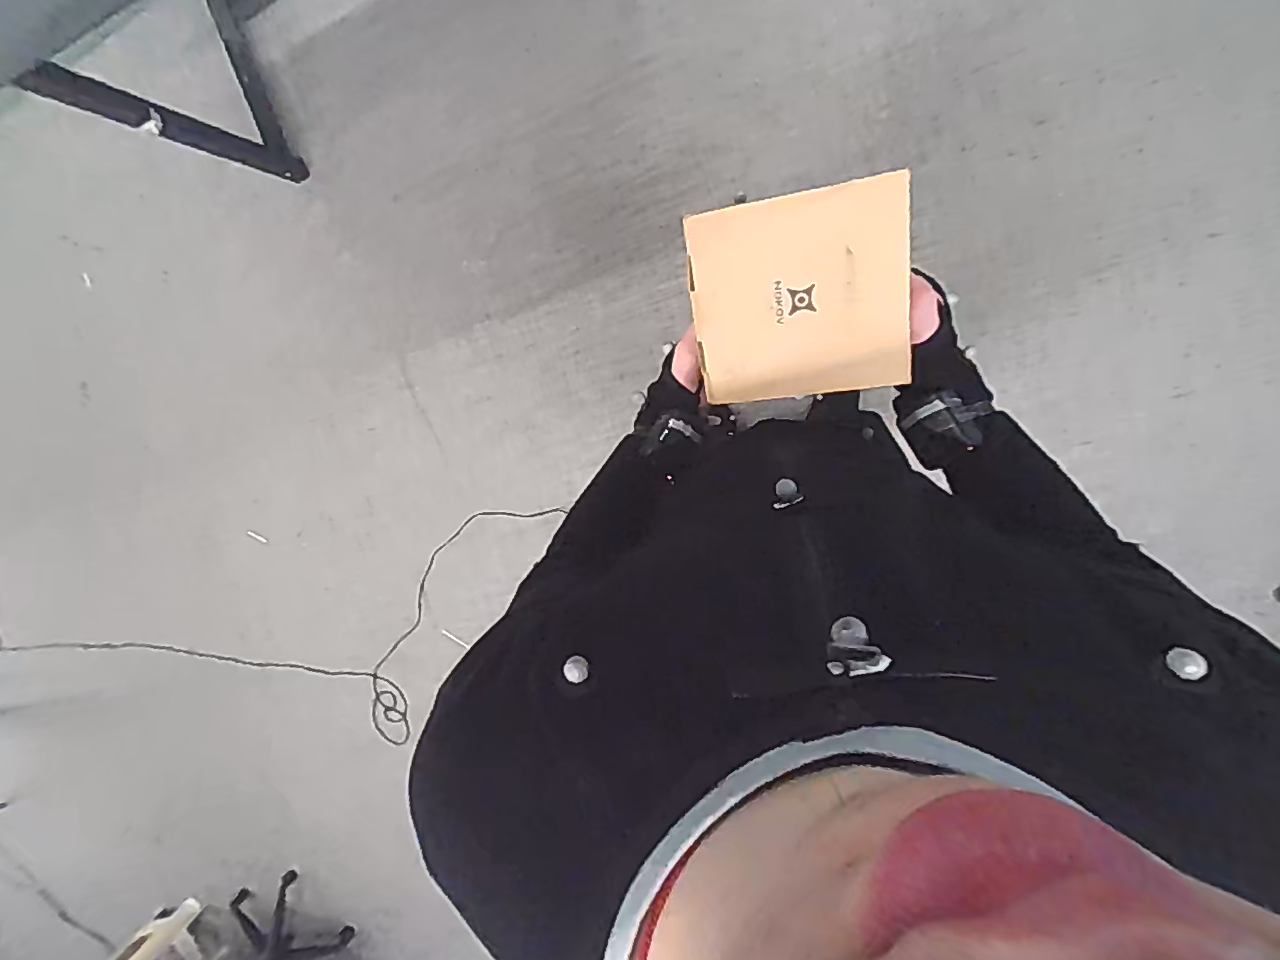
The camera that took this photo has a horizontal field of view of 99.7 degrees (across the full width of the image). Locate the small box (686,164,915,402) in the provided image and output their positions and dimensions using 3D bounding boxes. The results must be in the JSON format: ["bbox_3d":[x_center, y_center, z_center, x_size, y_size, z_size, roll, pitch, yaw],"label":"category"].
[{"bbox_3d":[0.154,-0.186,0.525,0.179,0.176,0.168,-6,113,17],"label":"small box"}]
